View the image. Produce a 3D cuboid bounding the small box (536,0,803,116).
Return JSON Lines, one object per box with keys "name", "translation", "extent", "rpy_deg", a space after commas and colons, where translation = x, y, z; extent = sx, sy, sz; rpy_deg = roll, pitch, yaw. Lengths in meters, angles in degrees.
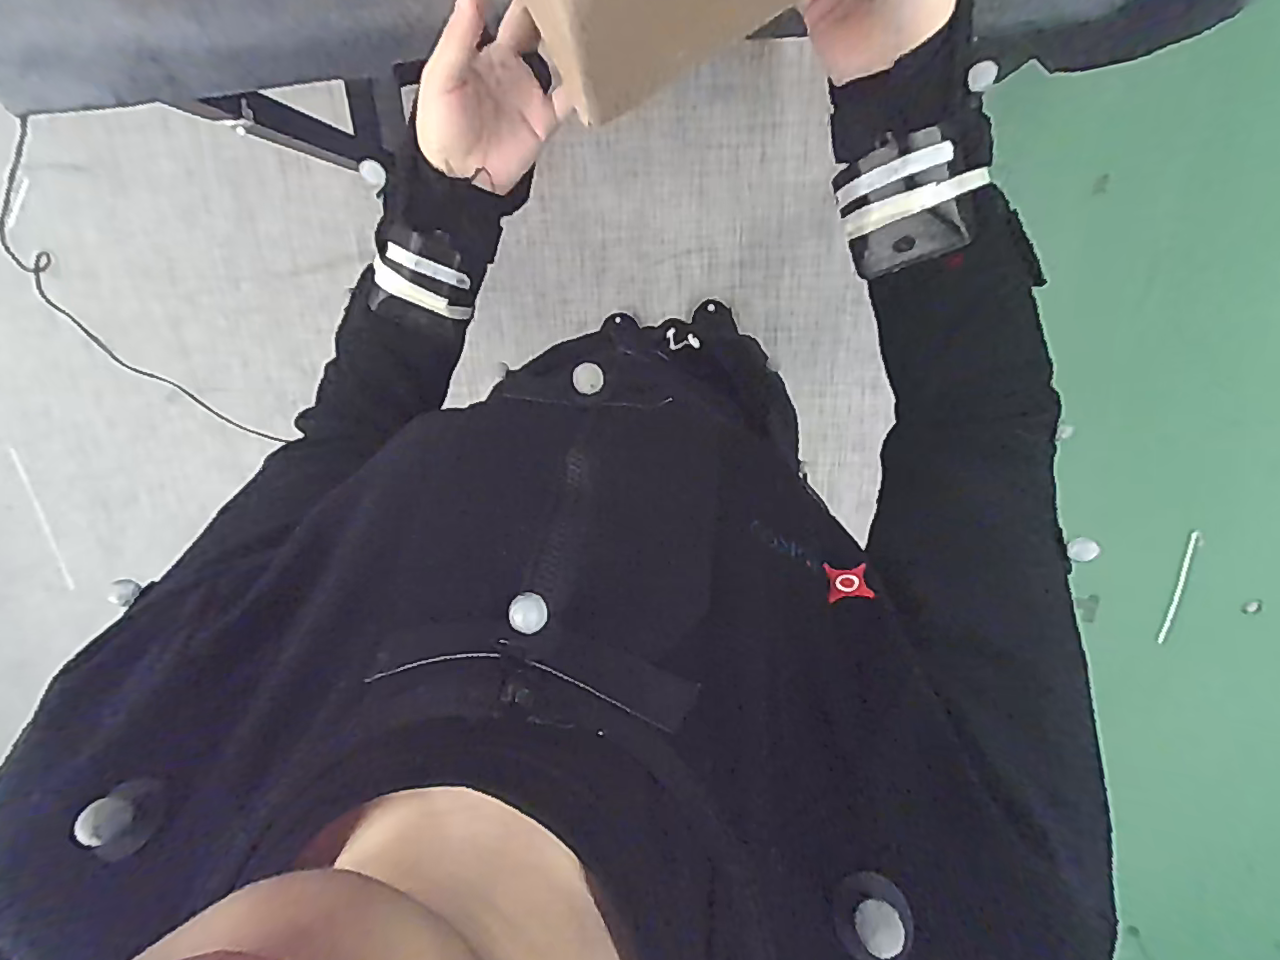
{"name": "small box", "translation": [0.019, -0.253, 0.163], "extent": [0.179, 0.176, 0.168], "rpy_deg": [-28, 111, 11]}
